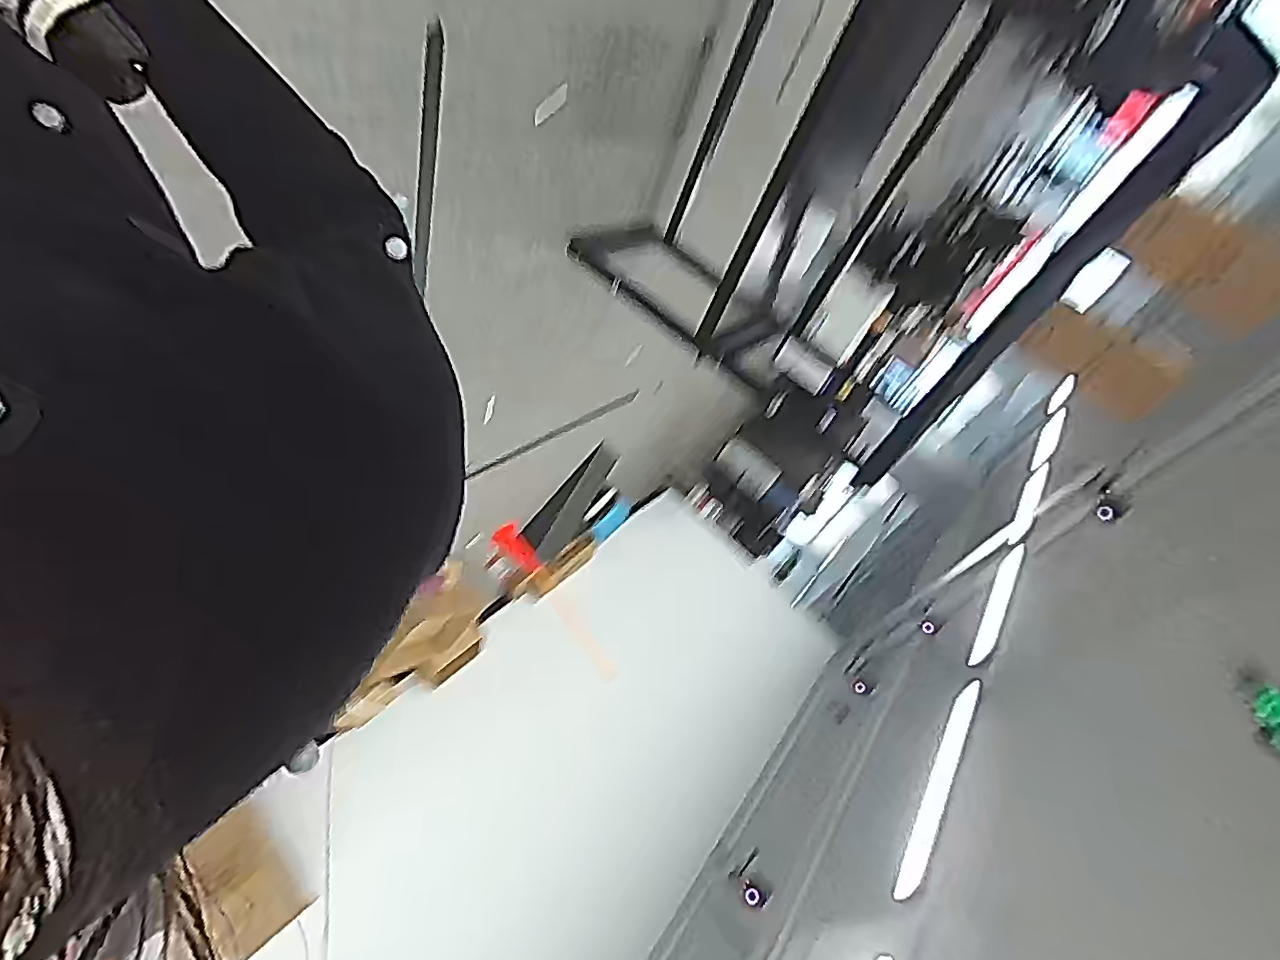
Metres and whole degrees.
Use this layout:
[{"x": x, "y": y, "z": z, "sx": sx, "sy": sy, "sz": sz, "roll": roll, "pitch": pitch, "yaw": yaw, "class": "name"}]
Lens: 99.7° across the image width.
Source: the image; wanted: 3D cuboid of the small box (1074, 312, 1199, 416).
[{"x": 1.228, "y": -0.295, "z": 1.352, "sx": 0.179, "sy": 0.176, "sz": 0.168, "roll": -35, "pitch": 161, "yaw": -43, "class": "small box"}]

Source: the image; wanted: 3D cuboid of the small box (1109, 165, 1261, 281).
[{"x": 1.192, "y": -0.575, "z": 1.199, "sx": 0.179, "sy": 0.176, "sz": 0.168, "roll": -36, "pitch": 162, "yaw": -41, "class": "small box"}]

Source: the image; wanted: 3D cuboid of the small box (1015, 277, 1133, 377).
[{"x": 1.106, "y": -0.400, "z": 1.390, "sx": 0.179, "sy": 0.176, "sz": 0.168, "roll": -36, "pitch": 160, "yaw": -44, "class": "small box"}]
